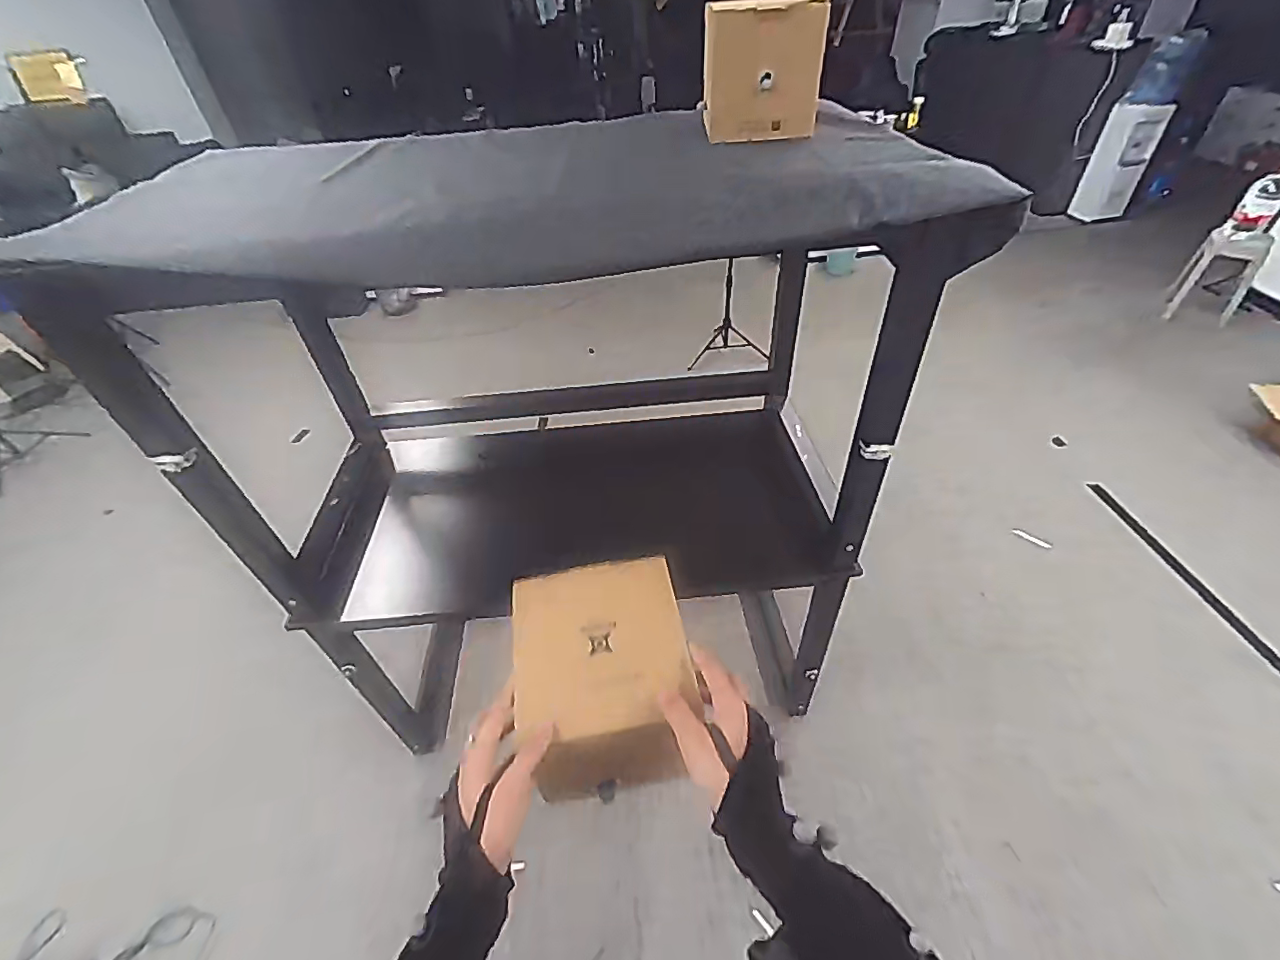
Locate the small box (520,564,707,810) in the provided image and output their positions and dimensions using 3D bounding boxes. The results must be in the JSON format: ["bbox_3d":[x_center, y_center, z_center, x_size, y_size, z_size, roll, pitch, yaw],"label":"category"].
[{"bbox_3d":[-0.032,0.219,0.580,0.168,0.176,0.179,-9,43,-5],"label":"small box"}]

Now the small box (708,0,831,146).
[{"bbox_3d":[0.197,-0.656,0.878,0.168,0.176,0.179,-1,44,4],"label":"small box"}]
